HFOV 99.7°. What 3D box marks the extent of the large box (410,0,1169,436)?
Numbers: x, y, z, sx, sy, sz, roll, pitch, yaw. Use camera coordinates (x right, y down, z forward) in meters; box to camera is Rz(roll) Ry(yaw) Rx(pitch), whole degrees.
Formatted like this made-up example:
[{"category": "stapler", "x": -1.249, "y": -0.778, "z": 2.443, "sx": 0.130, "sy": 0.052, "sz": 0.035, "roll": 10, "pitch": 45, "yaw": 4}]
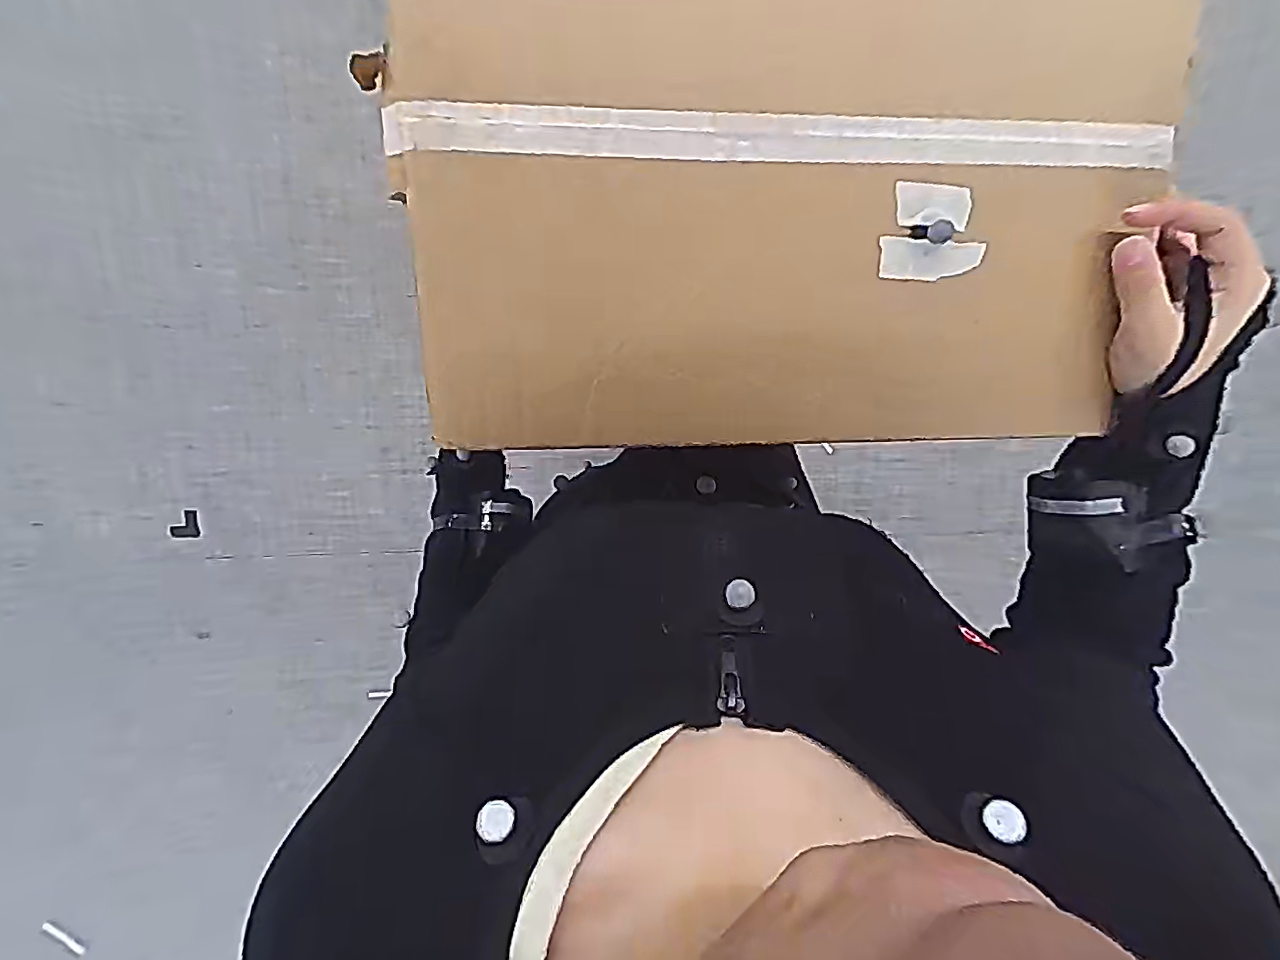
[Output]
[{"category": "large box", "x": 0.069, "y": -0.216, "z": 0.430, "sx": 0.408, "sy": 0.320, "sz": 0.320, "roll": -2, "pitch": 104, "yaw": -7}]
